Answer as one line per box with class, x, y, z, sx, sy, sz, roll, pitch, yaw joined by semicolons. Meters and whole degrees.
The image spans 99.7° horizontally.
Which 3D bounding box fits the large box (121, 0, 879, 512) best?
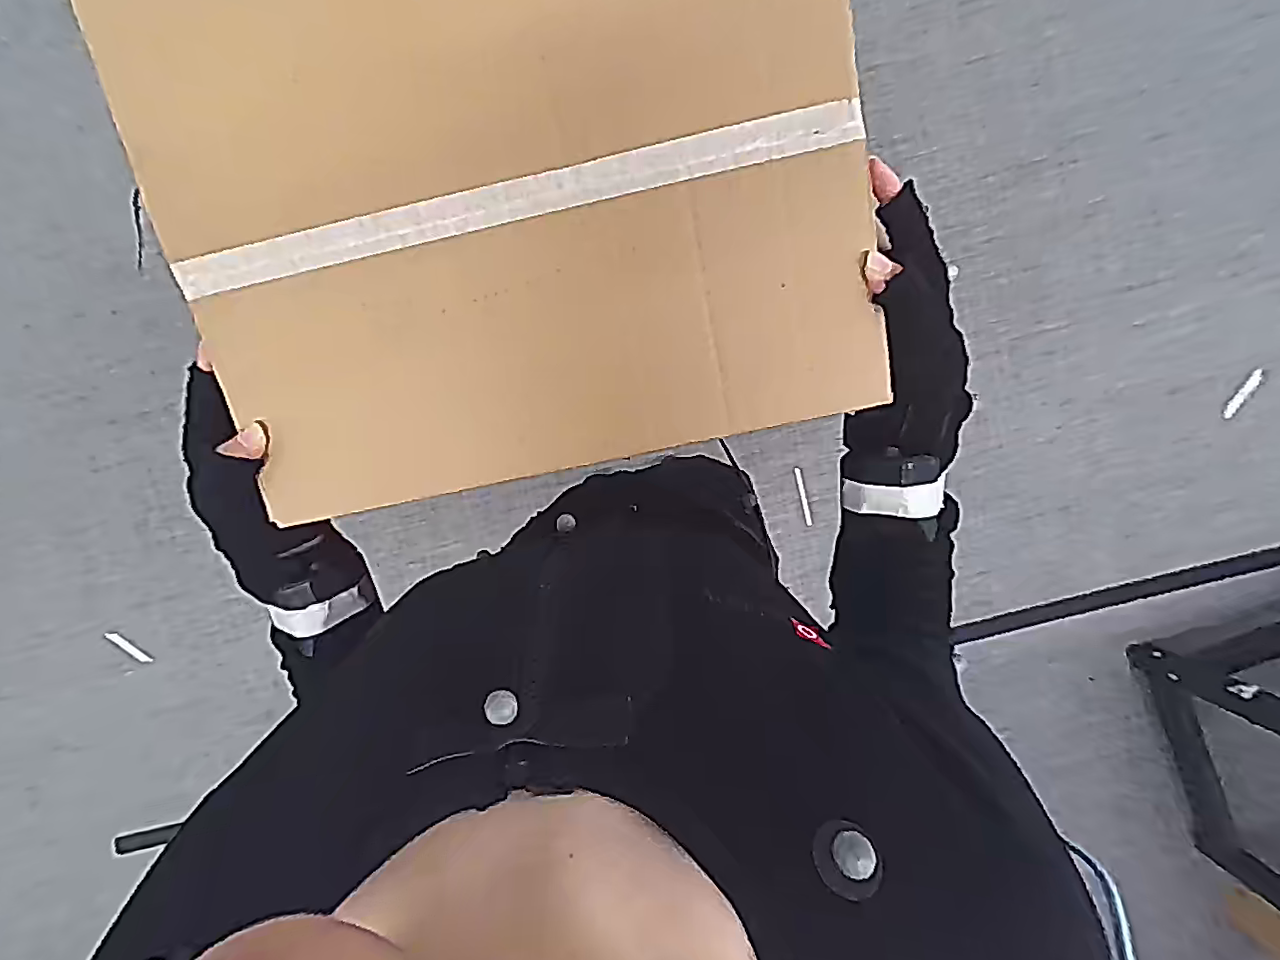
large box;-0.071;-0.195;0.469;0.408;0.320;0.320;-12;103;3
